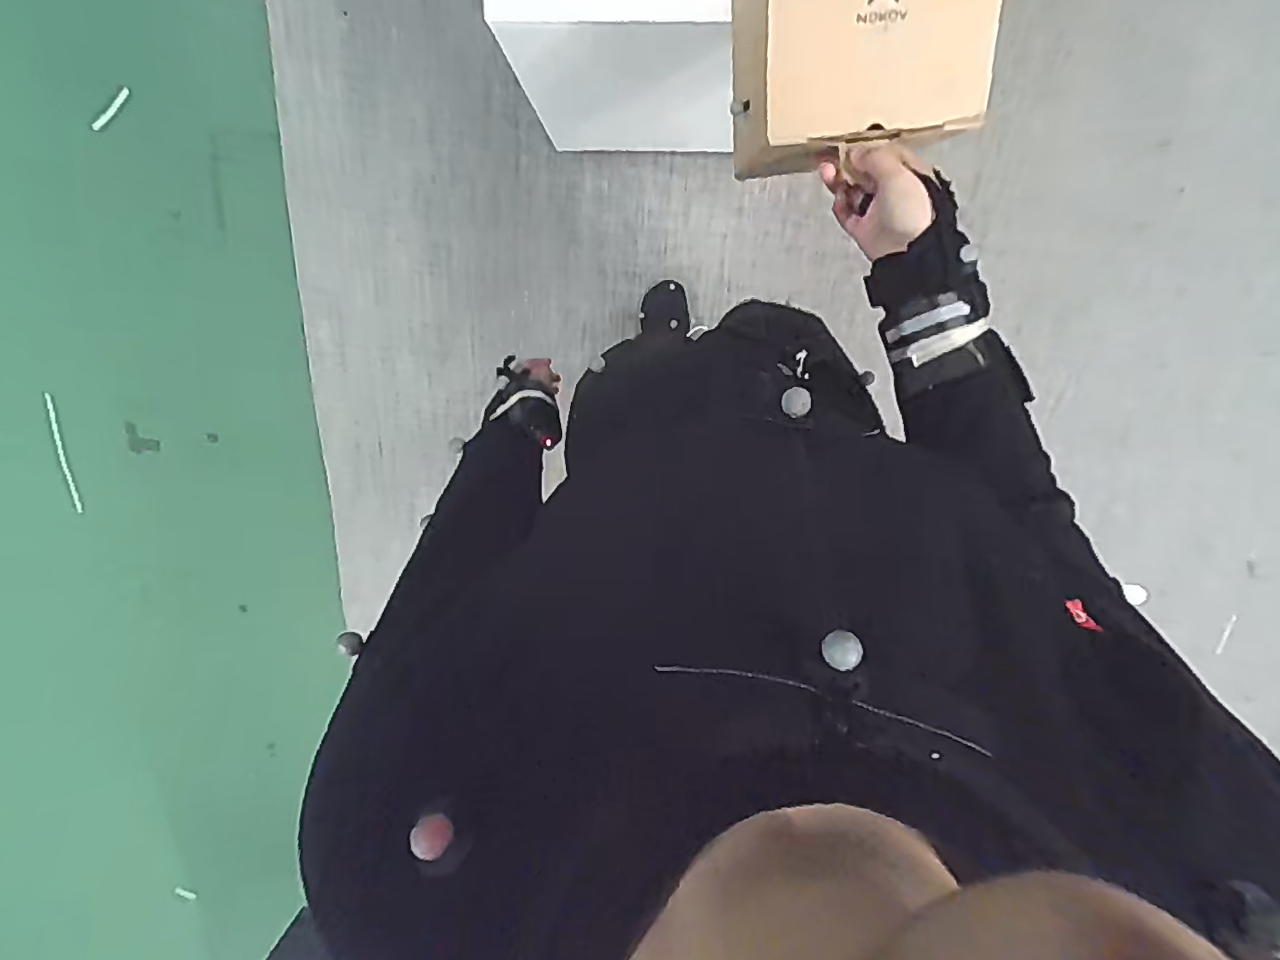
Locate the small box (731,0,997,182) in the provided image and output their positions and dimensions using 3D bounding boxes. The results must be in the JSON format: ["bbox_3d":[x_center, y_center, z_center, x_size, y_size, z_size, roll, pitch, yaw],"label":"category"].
[{"bbox_3d":[0.172,-0.365,0.459,0.168,0.176,0.179,-5,109,3],"label":"small box"}]
